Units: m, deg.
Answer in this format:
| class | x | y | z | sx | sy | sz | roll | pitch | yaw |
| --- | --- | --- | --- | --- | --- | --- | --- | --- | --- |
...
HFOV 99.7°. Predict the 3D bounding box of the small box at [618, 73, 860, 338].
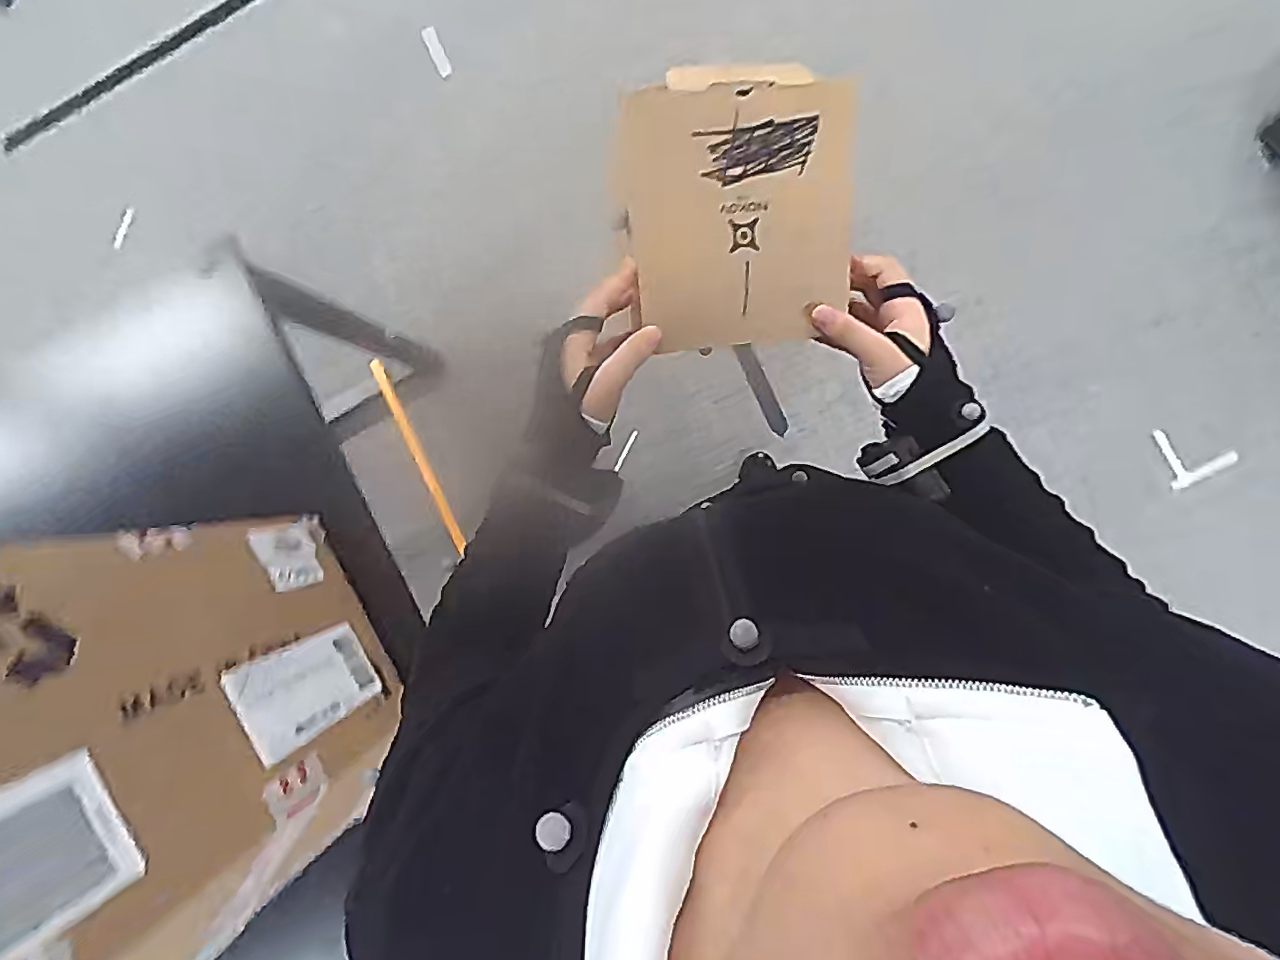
| class | x | y | z | sx | sy | sz | roll | pitch | yaw |
| --- | --- | --- | --- | --- | --- | --- | --- | --- | --- |
| small box | 0.073 | -0.223 | 0.479 | 0.168 | 0.176 | 0.179 | -6 | 108 | -5 |
